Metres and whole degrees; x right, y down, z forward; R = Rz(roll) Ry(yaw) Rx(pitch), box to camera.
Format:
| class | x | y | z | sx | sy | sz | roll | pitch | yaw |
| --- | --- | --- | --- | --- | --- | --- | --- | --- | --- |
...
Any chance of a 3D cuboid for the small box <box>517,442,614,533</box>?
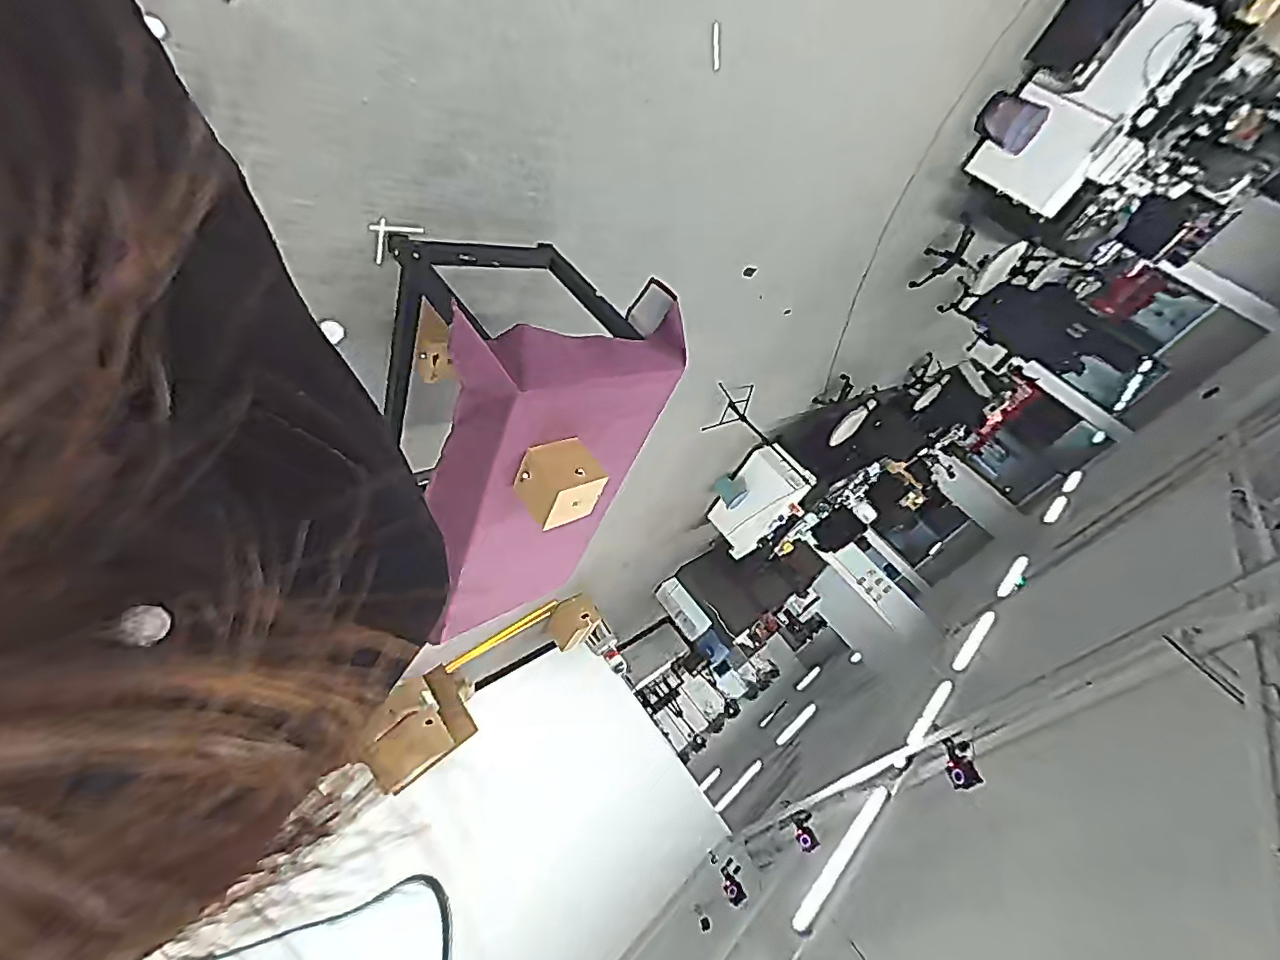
| class | x | y | z | sx | sy | sz | roll | pitch | yaw |
| --- | --- | --- | --- | --- | --- | --- | --- | --- | --- |
| small box | -0.209 | 0.013 | 1.500 | 0.179 | 0.176 | 0.168 | -18 | 148 | -43 |
